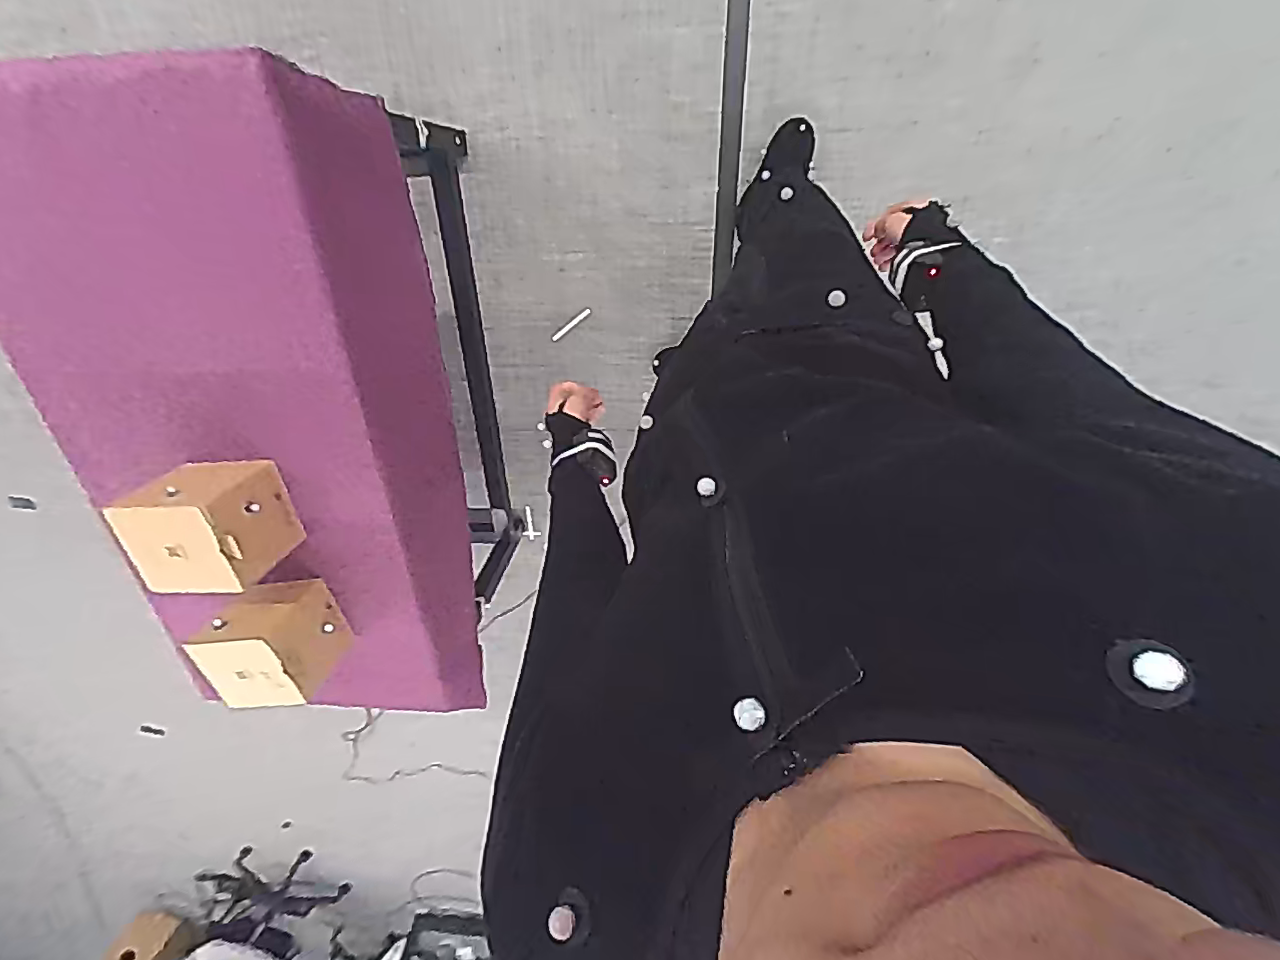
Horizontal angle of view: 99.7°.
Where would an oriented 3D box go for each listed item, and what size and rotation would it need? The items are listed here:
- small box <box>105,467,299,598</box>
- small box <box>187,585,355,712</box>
[{"bbox_3d":[-0.730,0.085,0.932,0.179,0.176,0.168,-1,117,7],"label":"small box"},{"bbox_3d":[-0.705,0.325,1.055,0.179,0.176,0.168,-7,117,9],"label":"small box"}]
